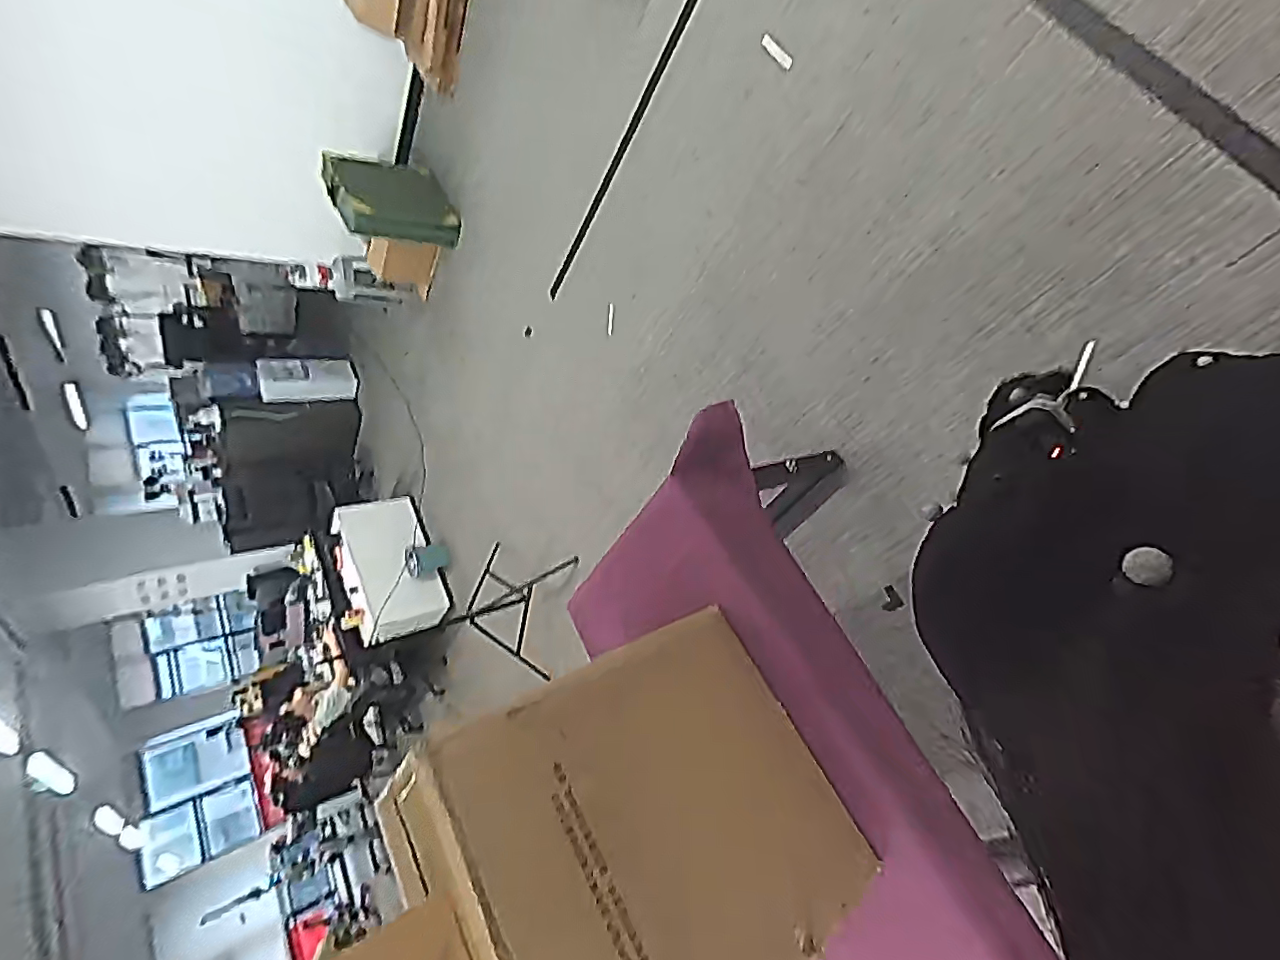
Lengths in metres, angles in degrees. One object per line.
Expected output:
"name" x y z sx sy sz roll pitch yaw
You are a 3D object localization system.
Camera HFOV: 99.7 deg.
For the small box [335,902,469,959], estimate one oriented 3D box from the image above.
"small box" -0.303 0.661 0.664 0.179 0.176 0.168 55 133 26
